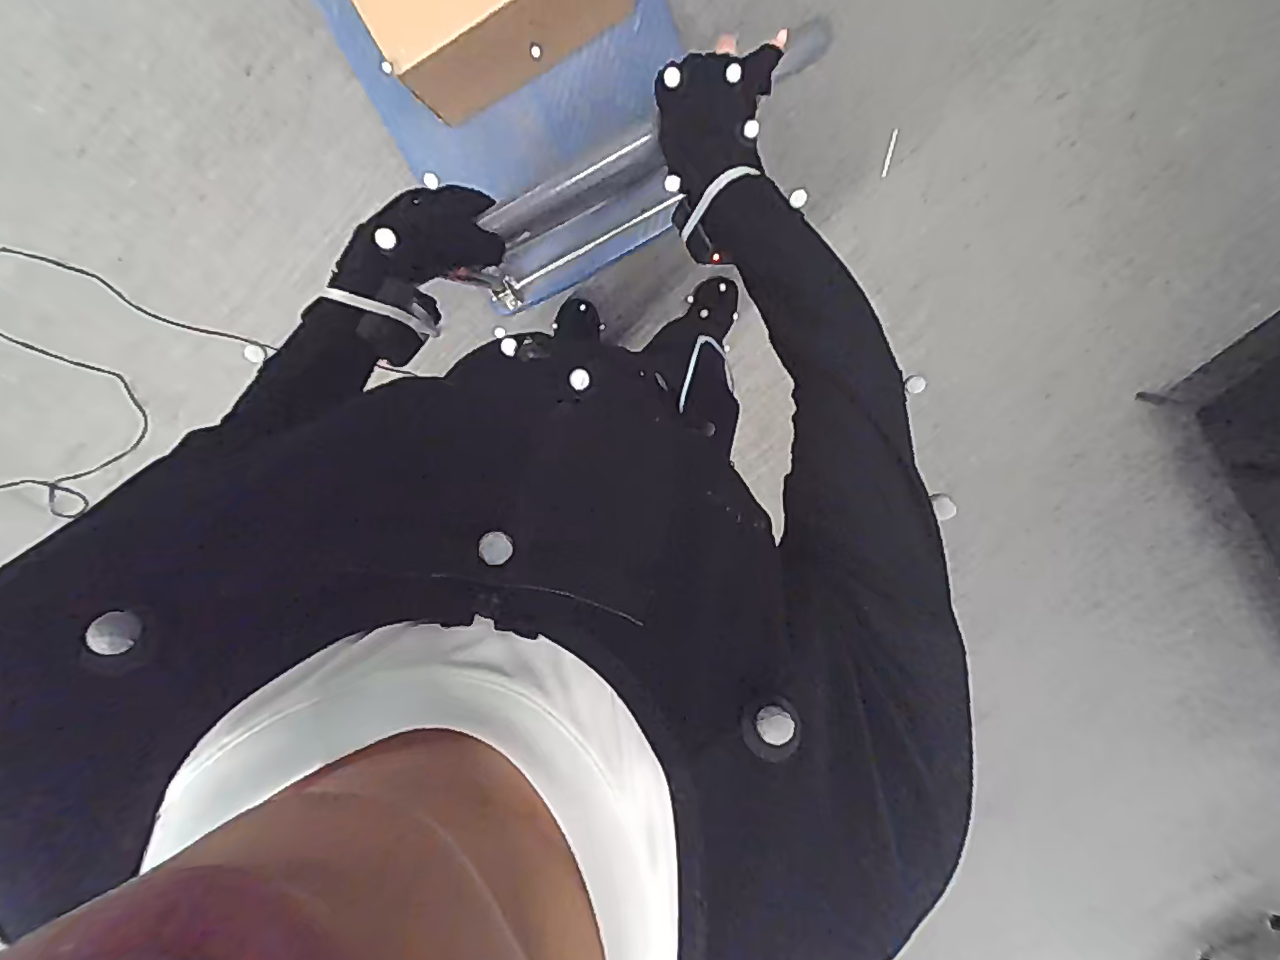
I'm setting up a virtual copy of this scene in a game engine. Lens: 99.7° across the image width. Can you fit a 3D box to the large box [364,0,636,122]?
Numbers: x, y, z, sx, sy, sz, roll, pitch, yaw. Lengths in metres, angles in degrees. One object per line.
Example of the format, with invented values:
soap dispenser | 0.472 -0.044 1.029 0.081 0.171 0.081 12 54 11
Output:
large box | -0.241 -0.855 0.846 0.408 0.320 0.320 -28 110 8
